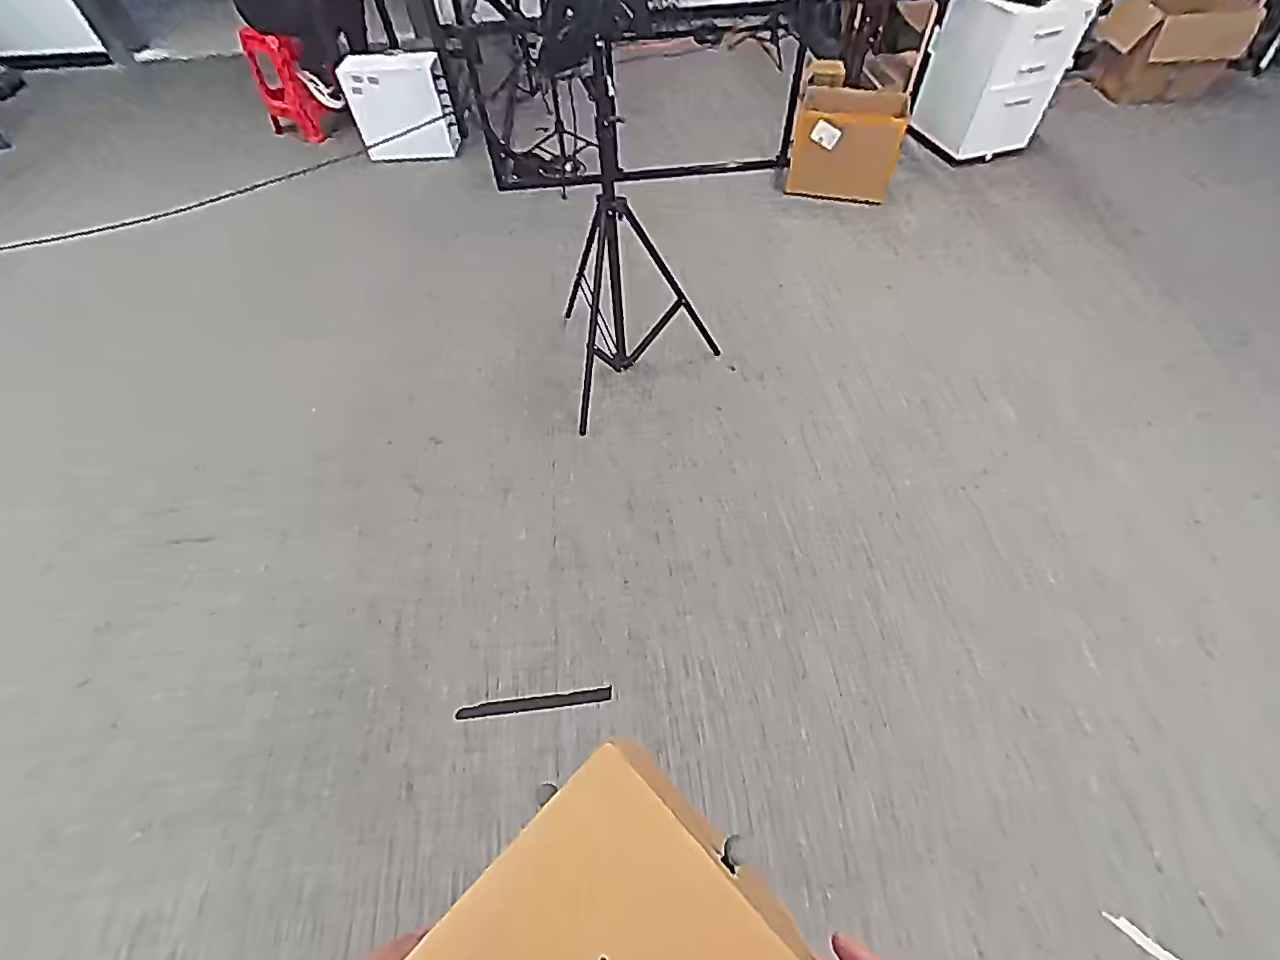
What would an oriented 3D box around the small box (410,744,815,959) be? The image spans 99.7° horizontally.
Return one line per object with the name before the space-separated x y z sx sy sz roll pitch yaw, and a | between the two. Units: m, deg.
small box | -0.008 0.293 0.333 0.179 0.176 0.168 41 73 19
